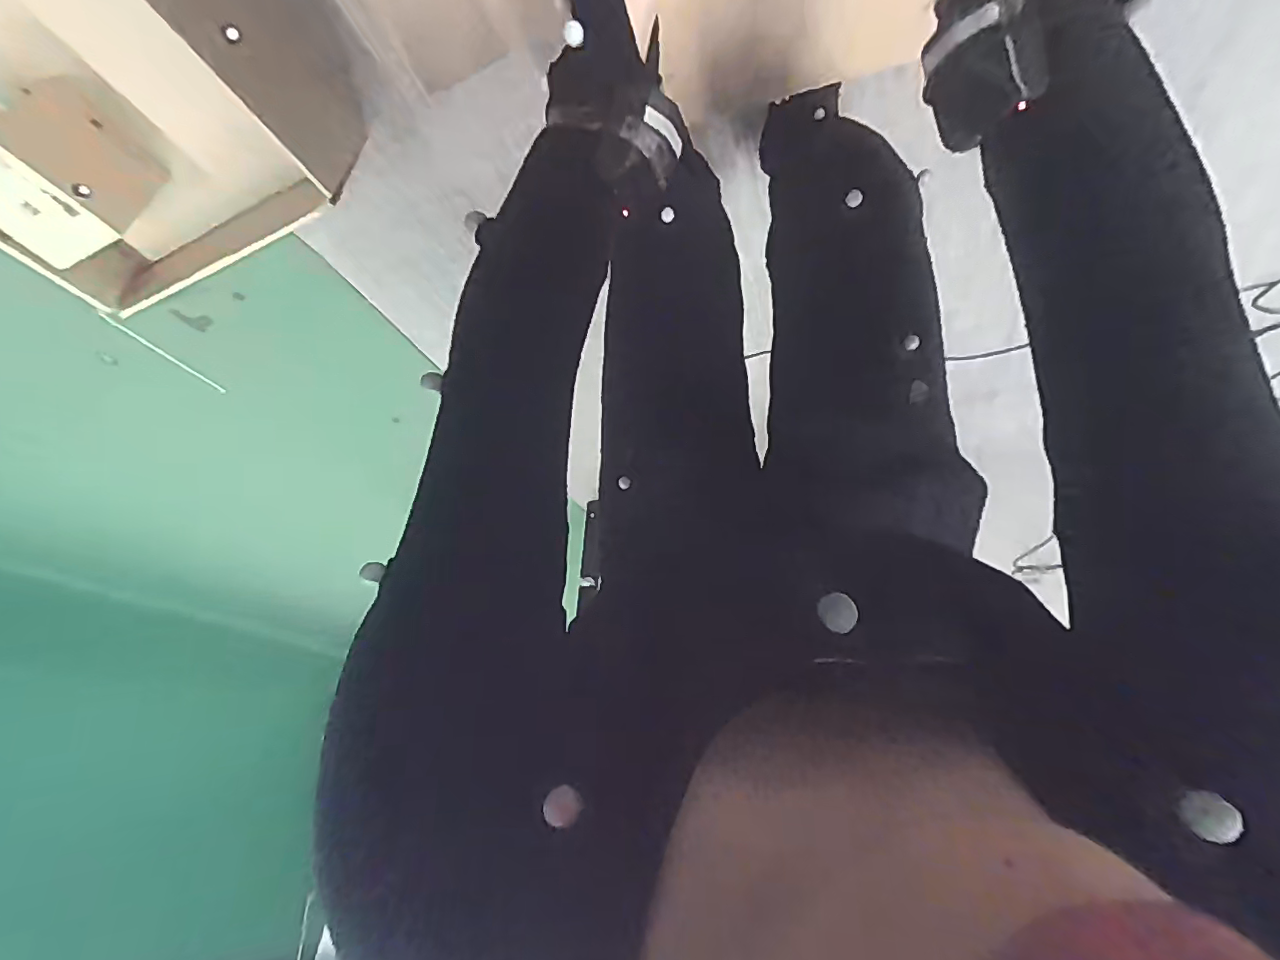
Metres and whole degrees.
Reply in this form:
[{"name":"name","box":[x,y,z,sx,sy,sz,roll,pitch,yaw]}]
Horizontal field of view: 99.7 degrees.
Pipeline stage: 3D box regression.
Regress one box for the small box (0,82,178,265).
[{"name":"small box","box":[-0.905,-0.485,0.867,0.179,0.176,0.168,-10,145,21]}]
